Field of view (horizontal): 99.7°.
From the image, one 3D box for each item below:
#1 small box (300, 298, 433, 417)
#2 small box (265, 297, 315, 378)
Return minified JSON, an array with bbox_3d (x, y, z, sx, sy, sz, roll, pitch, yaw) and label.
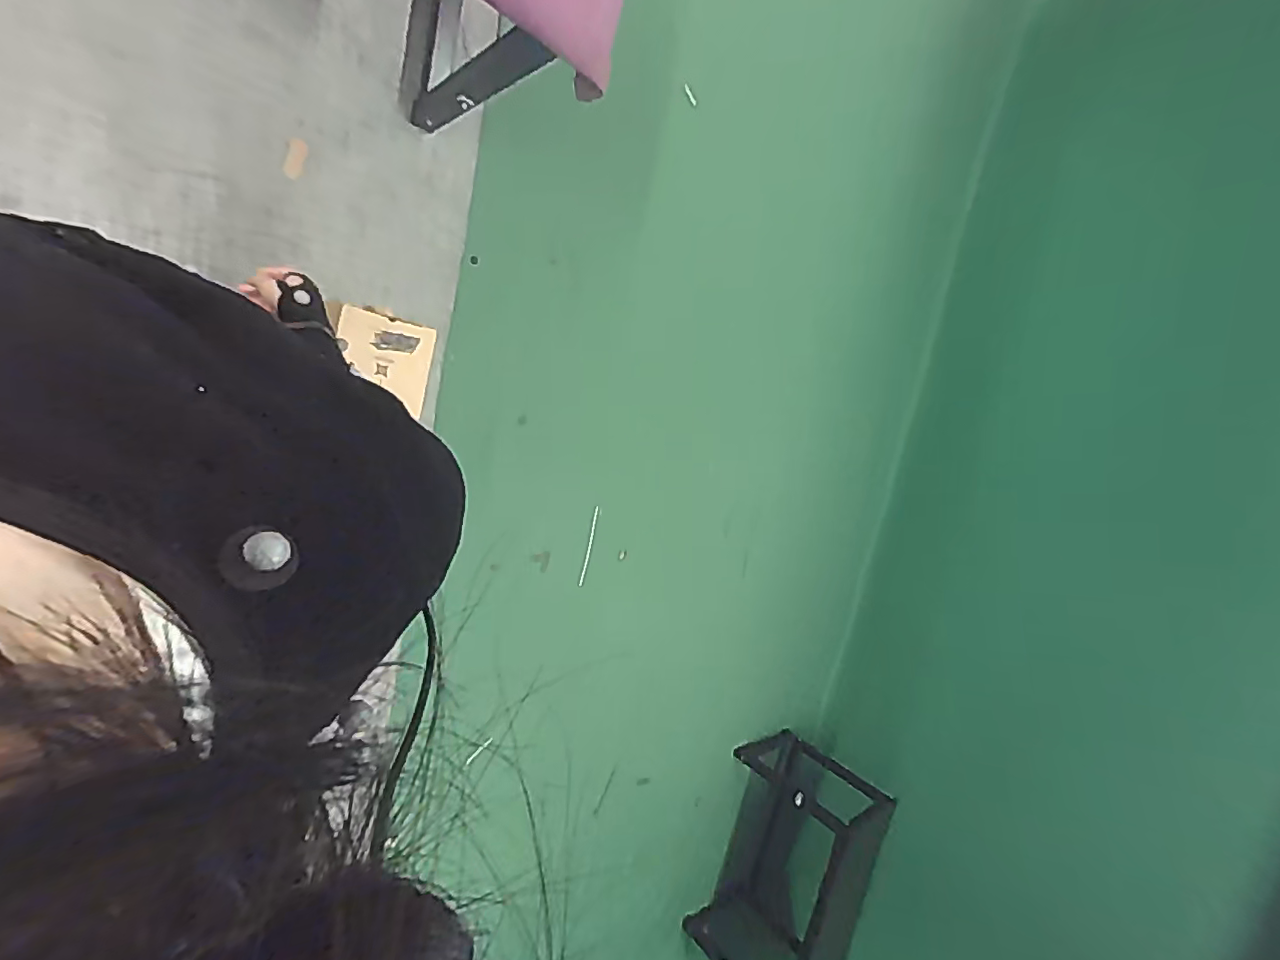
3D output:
[{"bbox_3d":[-0.518,-0.232,1.015,0.168,0.176,0.179,9,100,-45],"label":"small box"},{"bbox_3d":[-0.736,-0.306,1.249,0.179,0.176,0.168,20,91,-45],"label":"small box"}]
